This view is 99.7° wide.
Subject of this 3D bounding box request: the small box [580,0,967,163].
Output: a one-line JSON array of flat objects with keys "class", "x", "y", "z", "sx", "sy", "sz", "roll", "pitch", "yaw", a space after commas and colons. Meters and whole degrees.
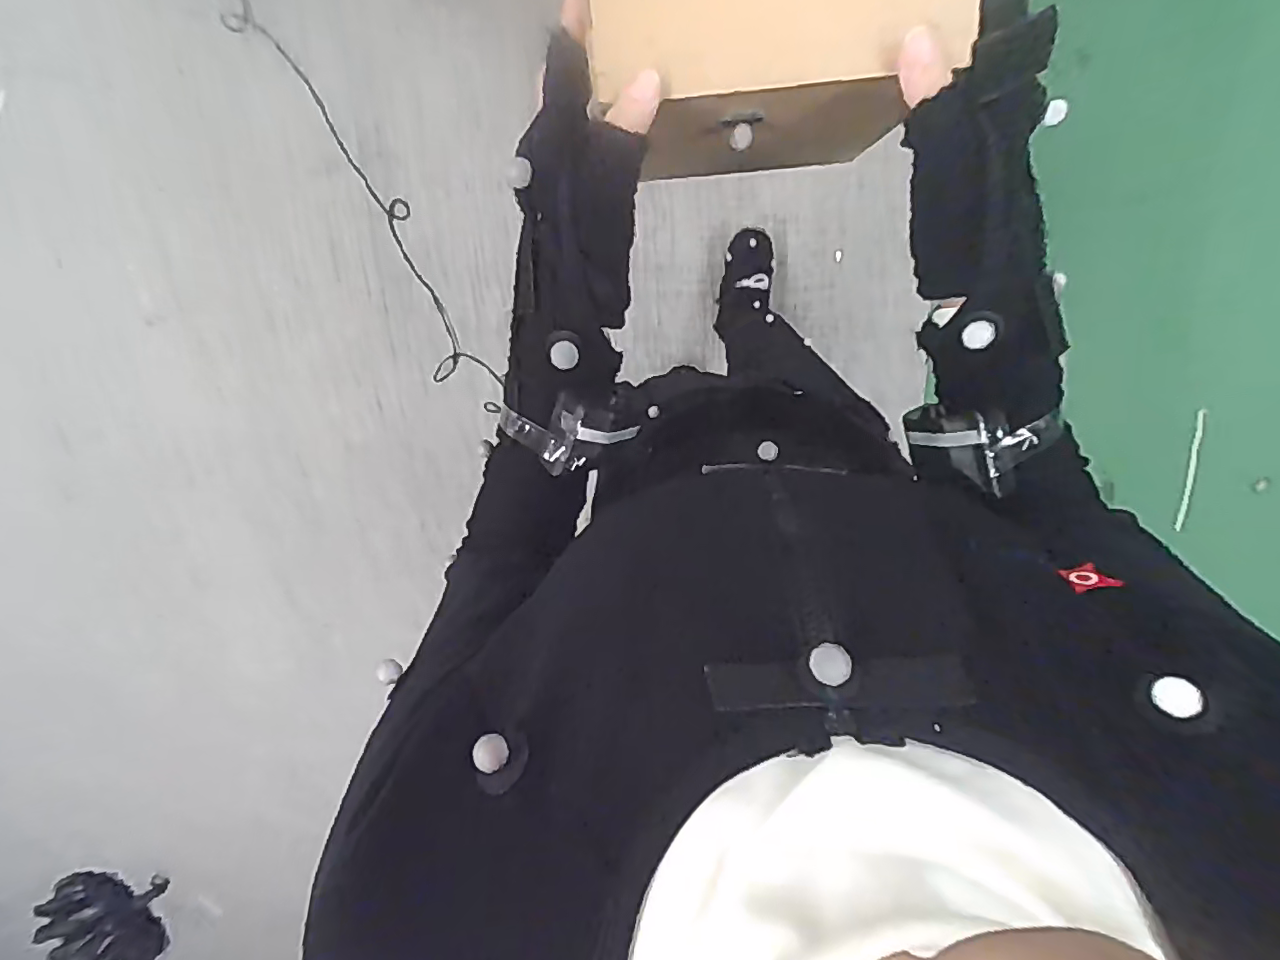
[{"class": "small box", "x": 0.059, "y": -0.295, "z": 0.305, "sx": 0.179, "sy": 0.176, "sz": 0.168, "roll": -3, "pitch": 107, "yaw": 3}]
